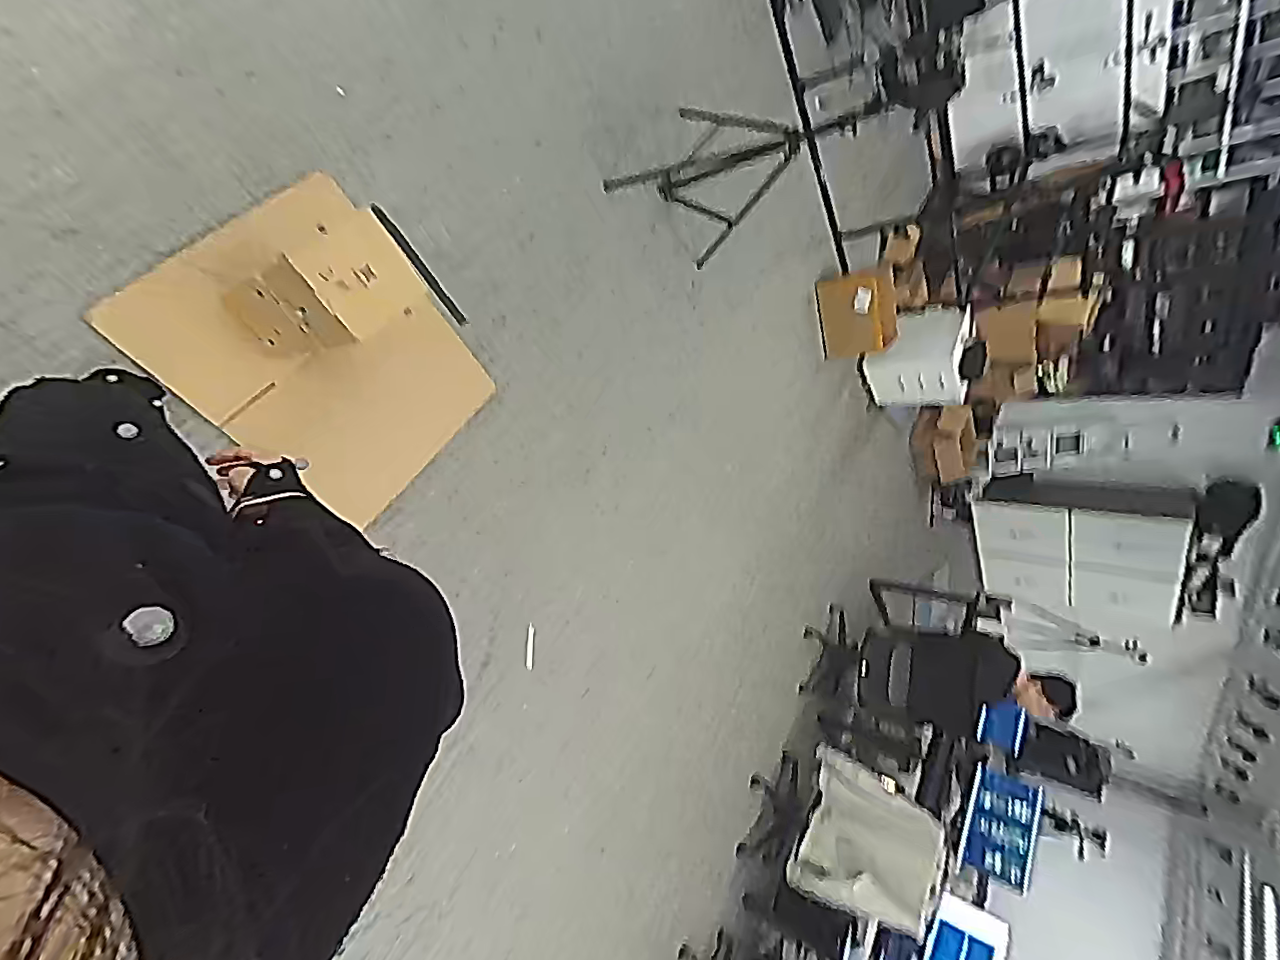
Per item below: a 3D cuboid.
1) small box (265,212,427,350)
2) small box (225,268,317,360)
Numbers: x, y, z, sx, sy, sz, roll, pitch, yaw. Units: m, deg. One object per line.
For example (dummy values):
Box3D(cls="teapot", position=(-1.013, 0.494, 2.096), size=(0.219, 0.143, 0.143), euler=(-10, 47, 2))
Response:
Box3D(cls="small box", position=(-0.542, -0.359, 0.996), size=(0.179, 0.176, 0.168), euler=(-53, 130, -28))
Box3D(cls="small box", position=(-0.788, -0.384, 1.214), size=(0.179, 0.176, 0.168), euler=(-52, 130, -31))
